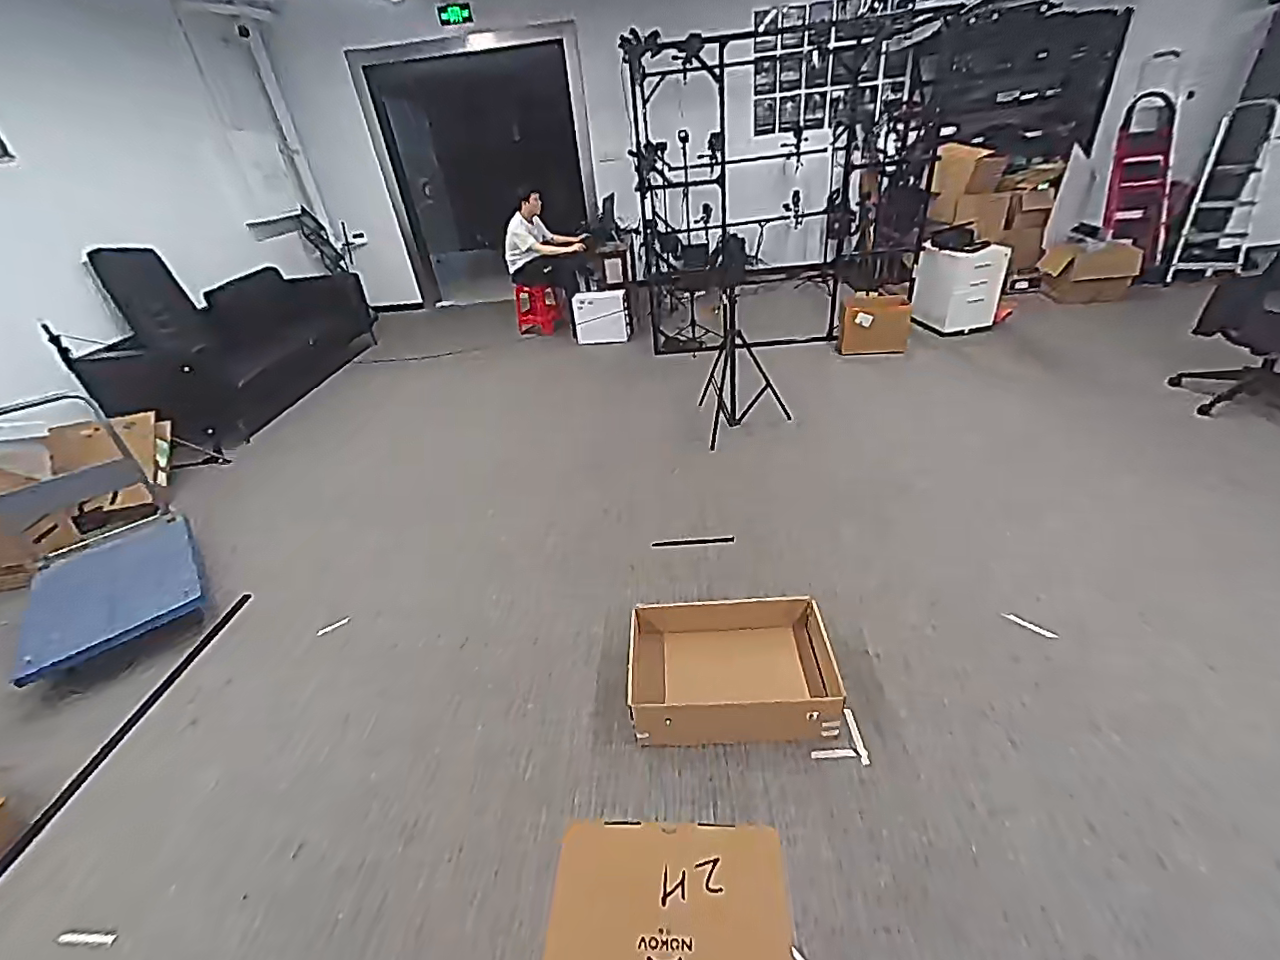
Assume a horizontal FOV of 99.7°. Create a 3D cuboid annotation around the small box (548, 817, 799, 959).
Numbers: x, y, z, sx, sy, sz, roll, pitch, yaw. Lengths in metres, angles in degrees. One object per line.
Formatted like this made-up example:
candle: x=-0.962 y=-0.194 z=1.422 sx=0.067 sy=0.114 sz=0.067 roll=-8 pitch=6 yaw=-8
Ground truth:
small box: x=0.027 y=0.378 z=0.387 sx=0.168 sy=0.176 sz=0.179 roll=-1 pitch=30 yaw=6
